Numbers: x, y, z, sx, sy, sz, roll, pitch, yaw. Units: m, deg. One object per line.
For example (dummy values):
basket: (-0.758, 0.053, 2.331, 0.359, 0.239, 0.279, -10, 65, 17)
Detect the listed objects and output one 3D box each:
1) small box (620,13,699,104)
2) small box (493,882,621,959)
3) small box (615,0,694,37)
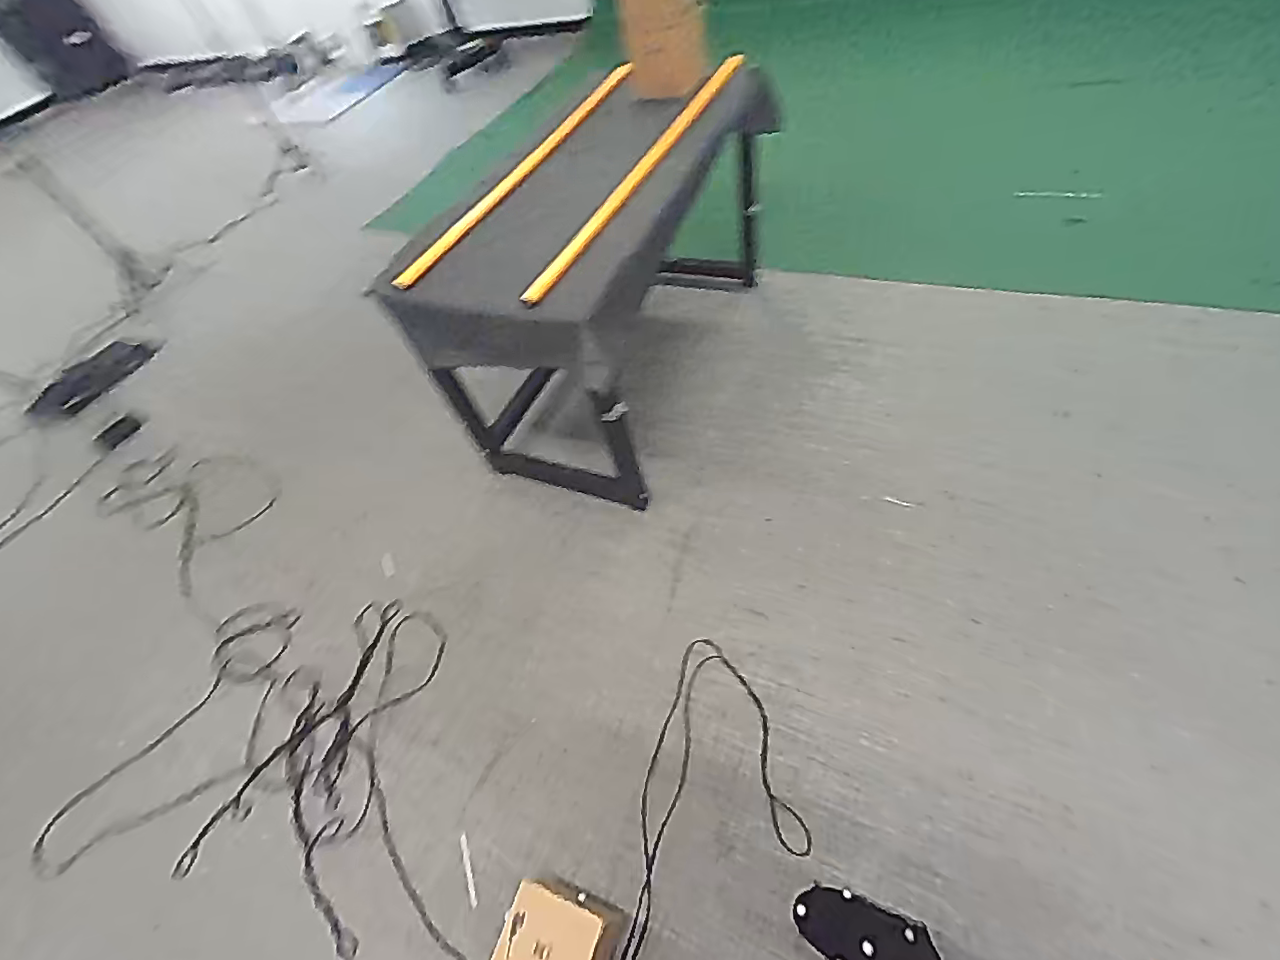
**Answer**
small box: (0.066, -1.251, 1.611, 0.179, 0.176, 0.168, 15, 59, 23)
small box: (-0.150, 0.871, 0.998, 0.179, 0.176, 0.168, 11, 57, 21)
small box: (0.035, -1.351, 1.486, 0.179, 0.176, 0.168, 13, 60, 22)
